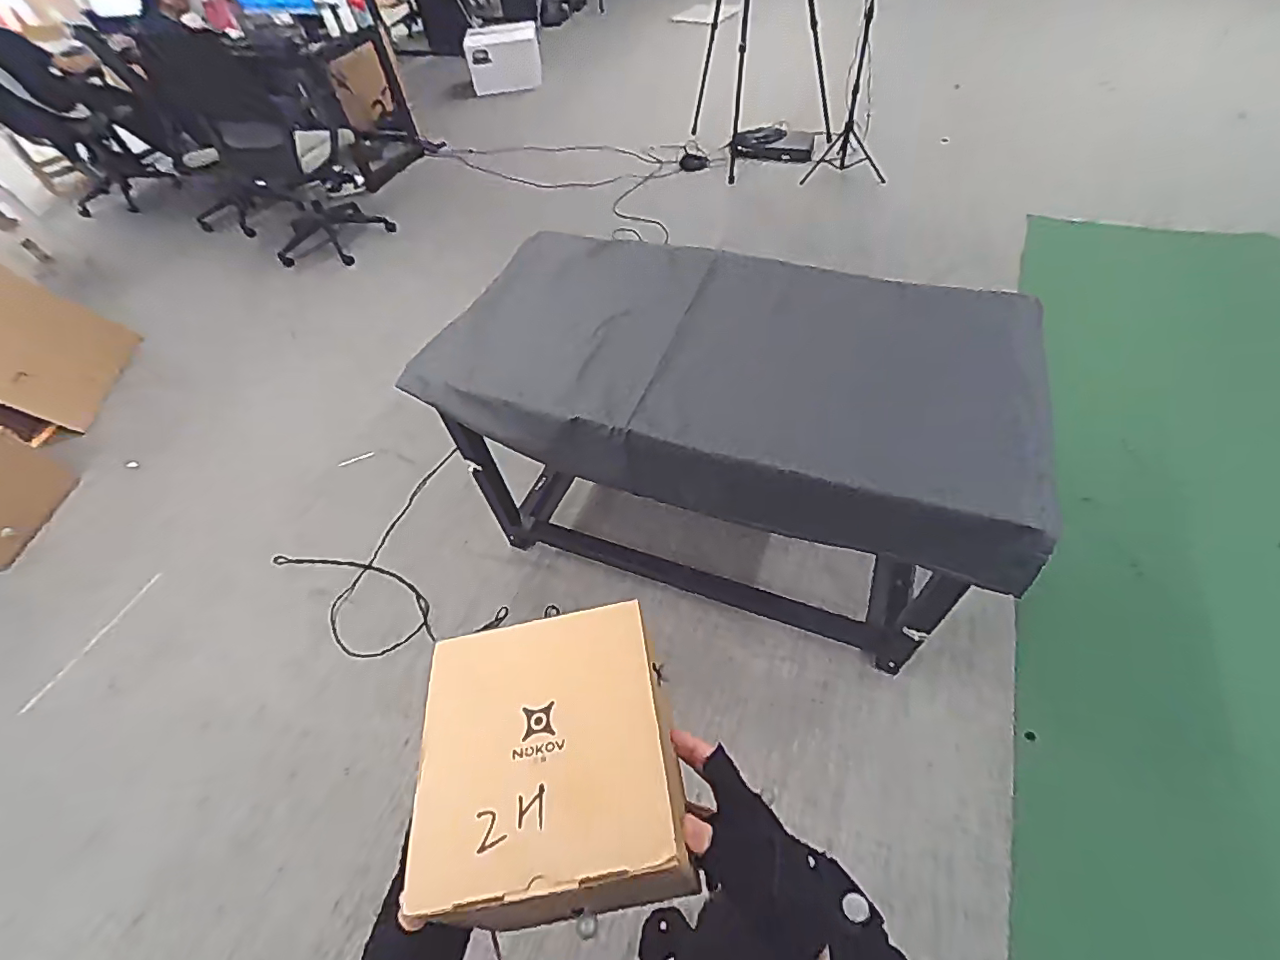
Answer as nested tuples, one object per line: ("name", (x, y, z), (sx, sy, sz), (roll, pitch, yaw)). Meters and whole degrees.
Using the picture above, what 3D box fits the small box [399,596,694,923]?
("small box", (-0.058, 0.221, 0.425), (0.168, 0.176, 0.179), (-12, 48, 2))
